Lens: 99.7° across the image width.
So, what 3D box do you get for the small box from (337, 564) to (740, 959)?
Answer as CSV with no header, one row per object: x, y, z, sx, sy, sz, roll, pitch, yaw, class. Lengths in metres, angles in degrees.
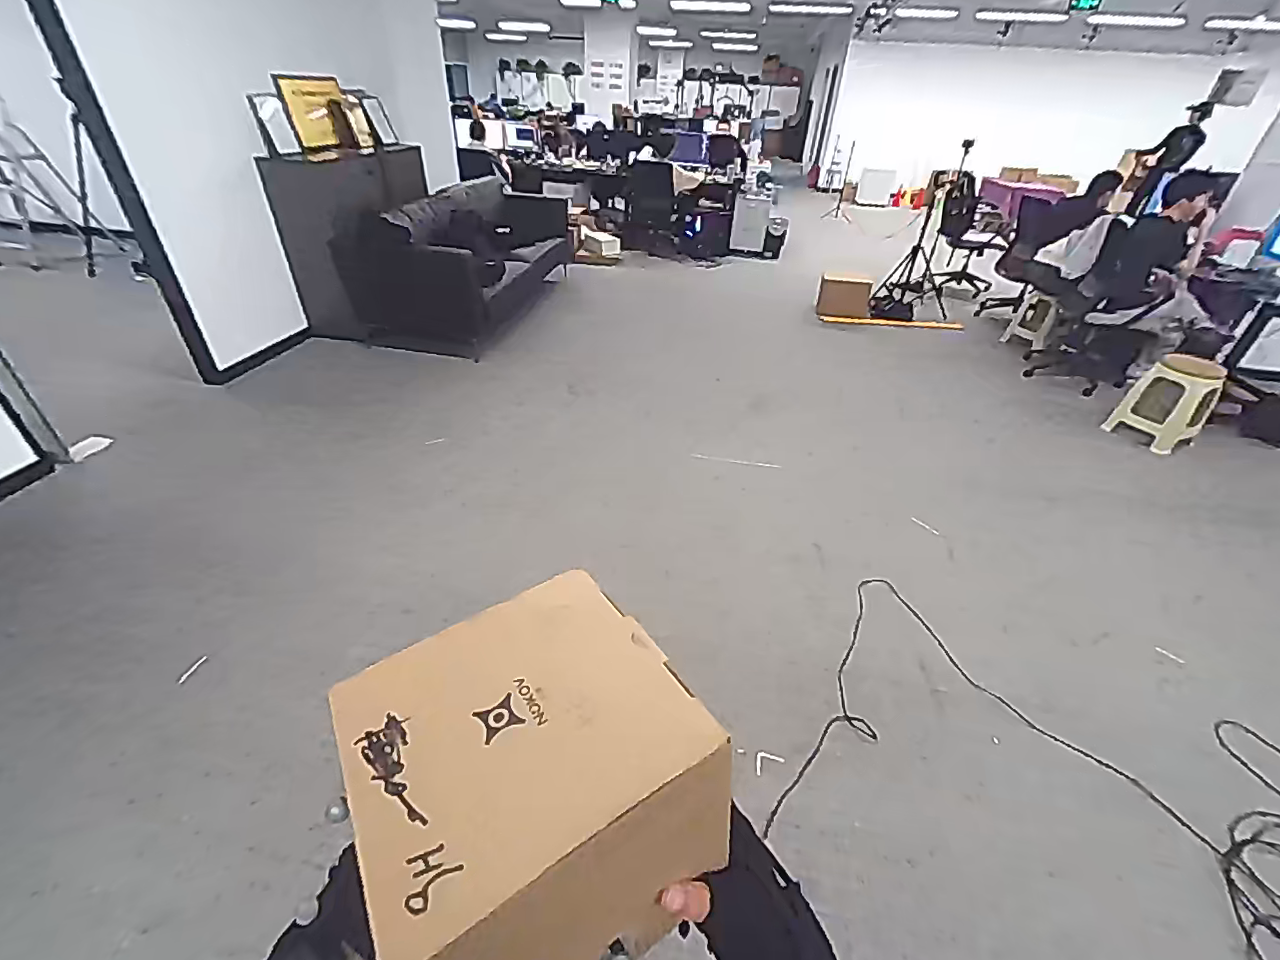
-0.059,0.190,0.341,0.179,0.176,0.168,-22,37,-26,small box
